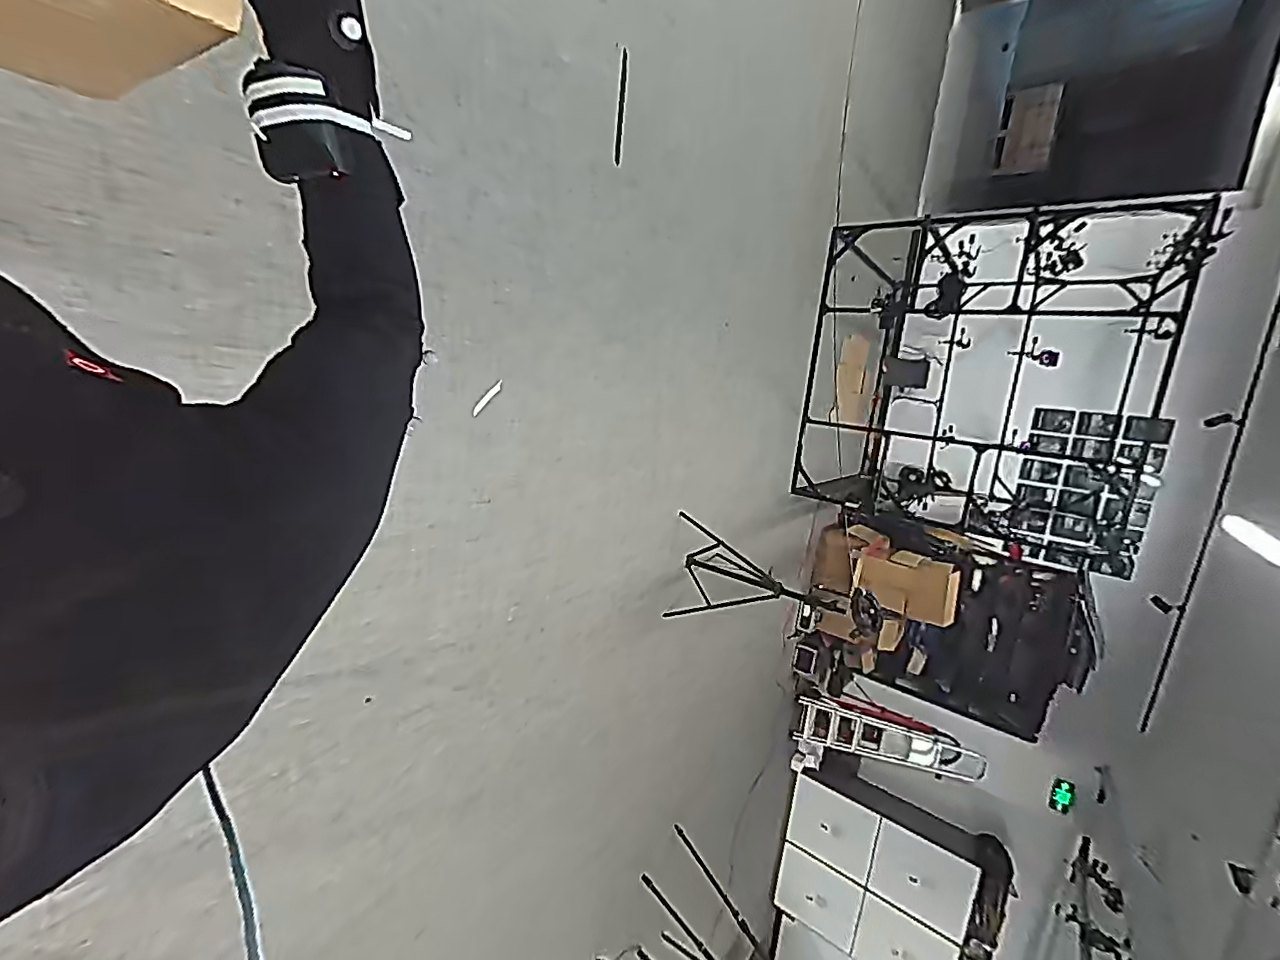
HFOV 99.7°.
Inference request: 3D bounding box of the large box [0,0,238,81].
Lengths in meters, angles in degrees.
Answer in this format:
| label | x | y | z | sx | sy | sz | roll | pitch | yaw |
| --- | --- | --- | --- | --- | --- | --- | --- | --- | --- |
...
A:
| label | x | y | z | sx | sy | sz | roll | pitch | yaw |
| --- | --- | --- | --- | --- | --- | --- | --- | --- | --- |
| large box | -0.484 | -0.461 | 0.241 | 0.408 | 0.320 | 0.320 | -13 | 115 | -55 |
